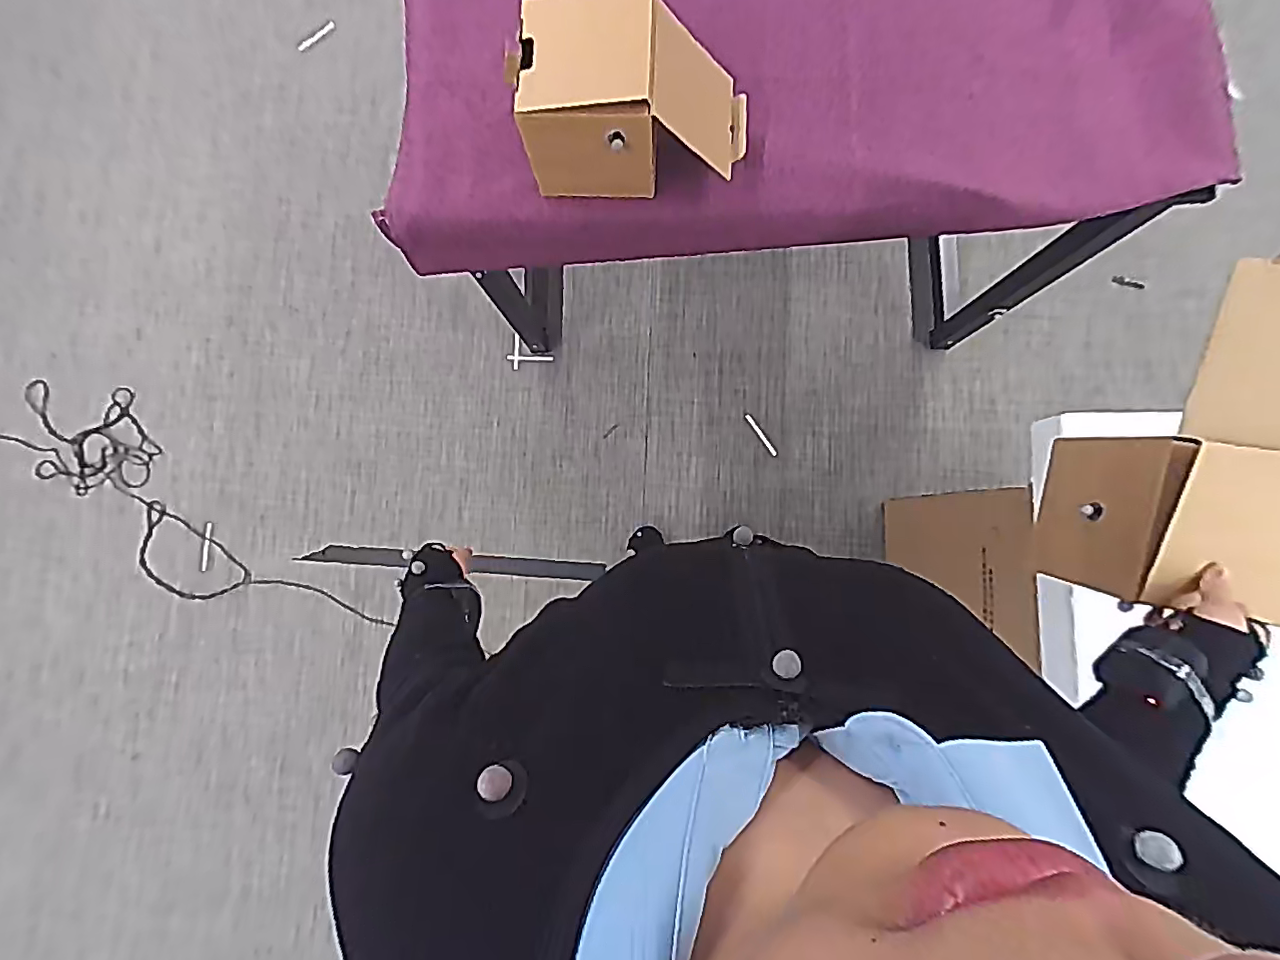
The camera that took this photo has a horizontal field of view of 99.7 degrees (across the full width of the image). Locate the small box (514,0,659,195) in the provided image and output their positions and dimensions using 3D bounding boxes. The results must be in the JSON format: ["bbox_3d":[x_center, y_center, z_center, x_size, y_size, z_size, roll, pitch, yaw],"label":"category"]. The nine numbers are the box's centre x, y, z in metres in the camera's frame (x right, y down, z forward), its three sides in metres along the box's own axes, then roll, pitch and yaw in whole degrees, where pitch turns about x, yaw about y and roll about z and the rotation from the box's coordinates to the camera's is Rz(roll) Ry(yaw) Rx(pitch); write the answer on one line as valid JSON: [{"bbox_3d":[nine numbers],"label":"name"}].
[{"bbox_3d":[-0.064,-0.529,0.763,0.179,0.176,0.168,2,83,3],"label":"small box"}]
